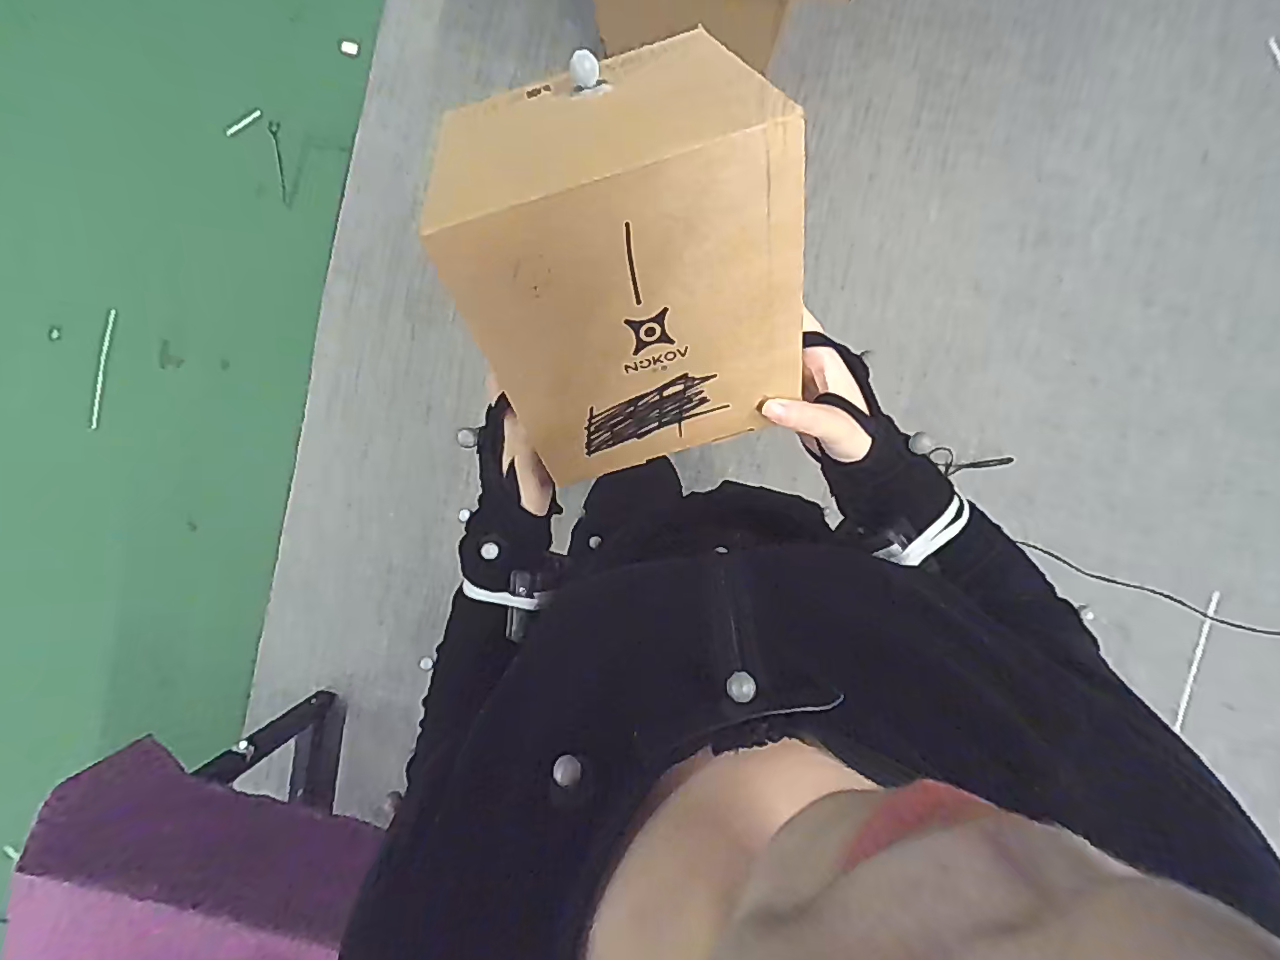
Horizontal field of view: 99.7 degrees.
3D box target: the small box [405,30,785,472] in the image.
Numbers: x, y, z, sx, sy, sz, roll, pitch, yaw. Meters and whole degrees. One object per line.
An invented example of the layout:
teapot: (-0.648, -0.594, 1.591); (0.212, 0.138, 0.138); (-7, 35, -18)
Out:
small box: (-0.016, -0.138, 0.338); (0.168, 0.179, 0.176); (-16, 48, 3)
